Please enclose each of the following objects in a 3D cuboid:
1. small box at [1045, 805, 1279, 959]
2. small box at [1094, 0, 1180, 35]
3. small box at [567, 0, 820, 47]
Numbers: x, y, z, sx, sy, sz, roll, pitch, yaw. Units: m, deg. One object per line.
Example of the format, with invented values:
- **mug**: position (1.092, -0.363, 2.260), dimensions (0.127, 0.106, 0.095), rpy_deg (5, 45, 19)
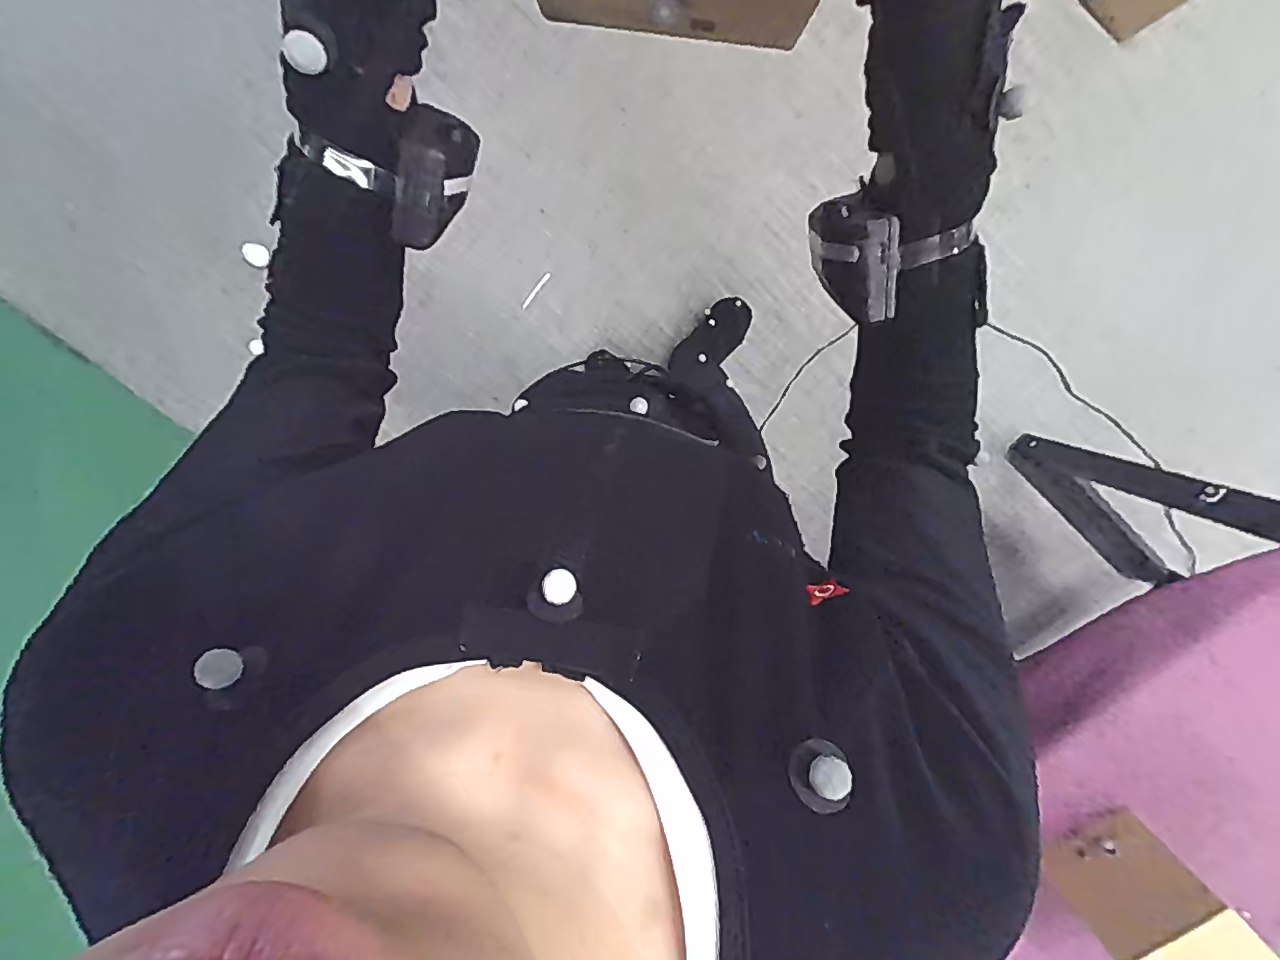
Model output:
- **small box**: position (0.767, 0.635, 0.801), dimensions (0.168, 0.176, 0.179), rpy_deg (-43, 99, 11)
- **small box**: position (1.058, -1.066, 1.089), dimensions (0.168, 0.176, 0.179), rpy_deg (39, 102, -8)
- **small box**: position (0.033, -0.350, 0.248), dimensions (0.168, 0.176, 0.179), rpy_deg (8, 107, -1)
